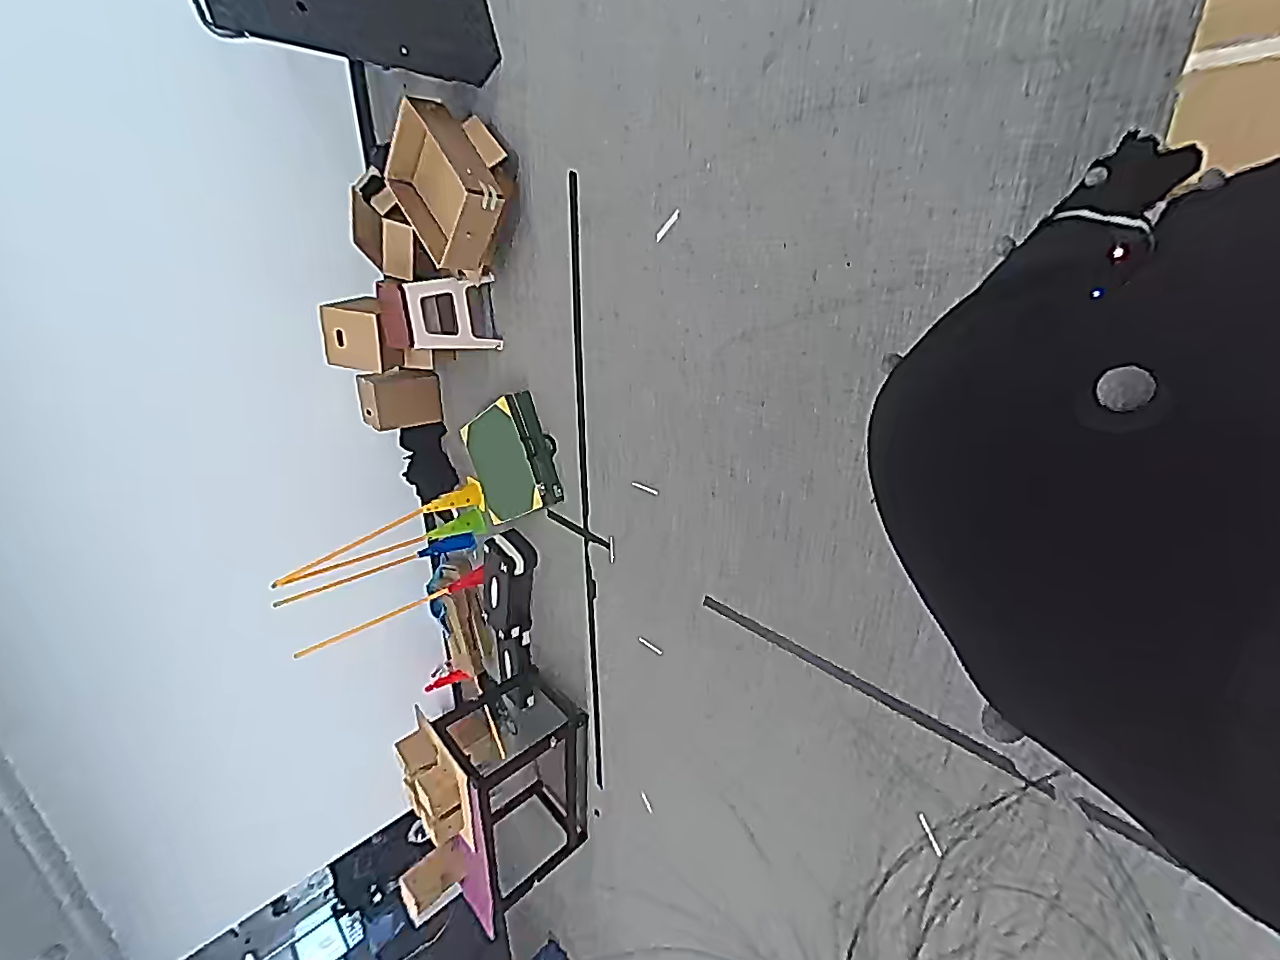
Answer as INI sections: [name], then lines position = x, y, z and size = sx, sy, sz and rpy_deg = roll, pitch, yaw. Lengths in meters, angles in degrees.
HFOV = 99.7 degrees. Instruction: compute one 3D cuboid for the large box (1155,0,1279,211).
[large box]
position = 1.032, -0.572, 0.747
size = 0.408, 0.320, 0.320
rpy_deg = 19, 119, 42
